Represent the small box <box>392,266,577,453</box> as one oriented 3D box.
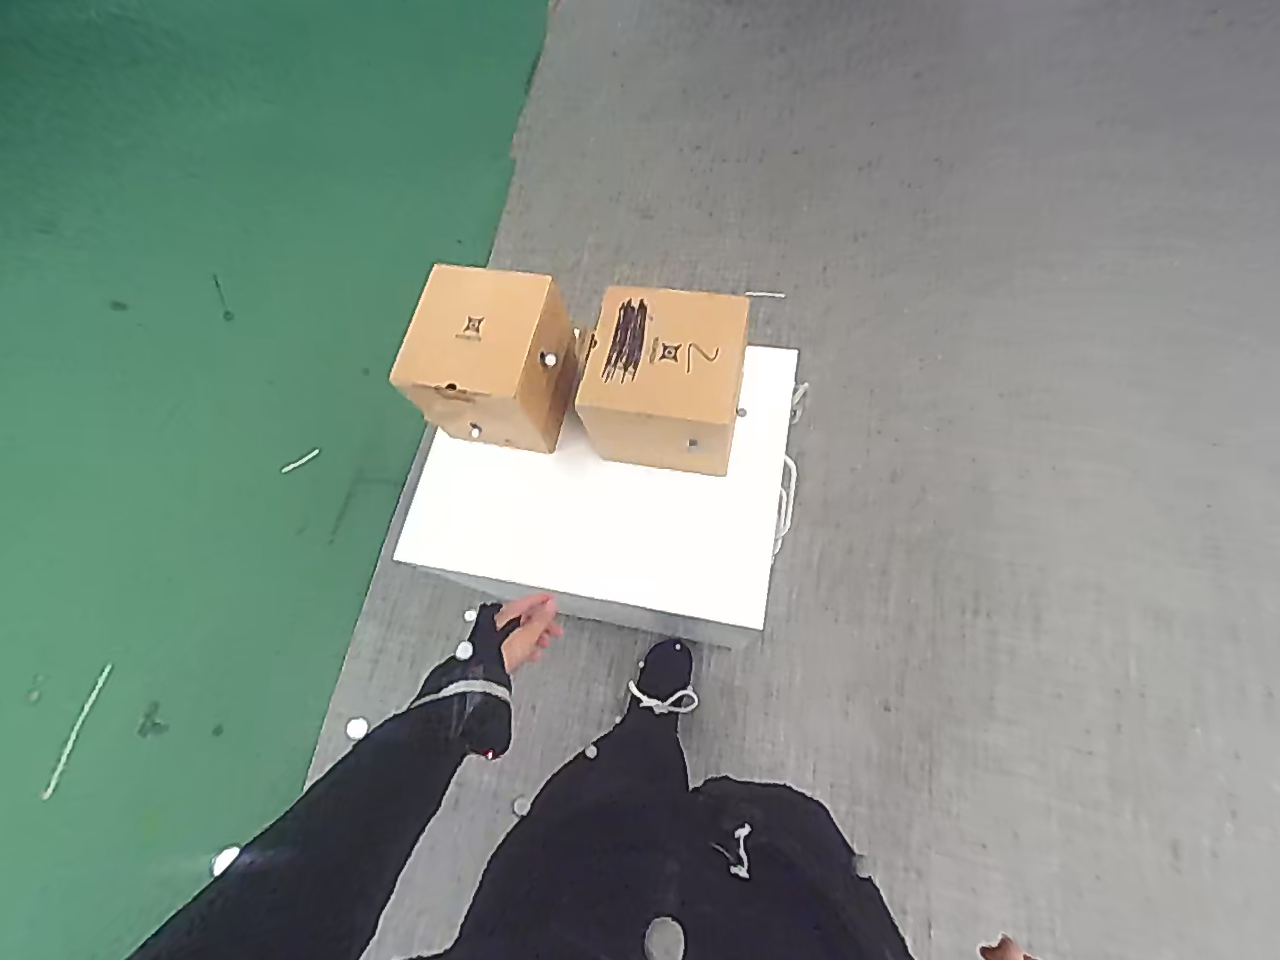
[{"bbox_3d":[-0.193,-0.157,0.734,0.168,0.176,0.179,9,72,10],"label":"small box"}]
